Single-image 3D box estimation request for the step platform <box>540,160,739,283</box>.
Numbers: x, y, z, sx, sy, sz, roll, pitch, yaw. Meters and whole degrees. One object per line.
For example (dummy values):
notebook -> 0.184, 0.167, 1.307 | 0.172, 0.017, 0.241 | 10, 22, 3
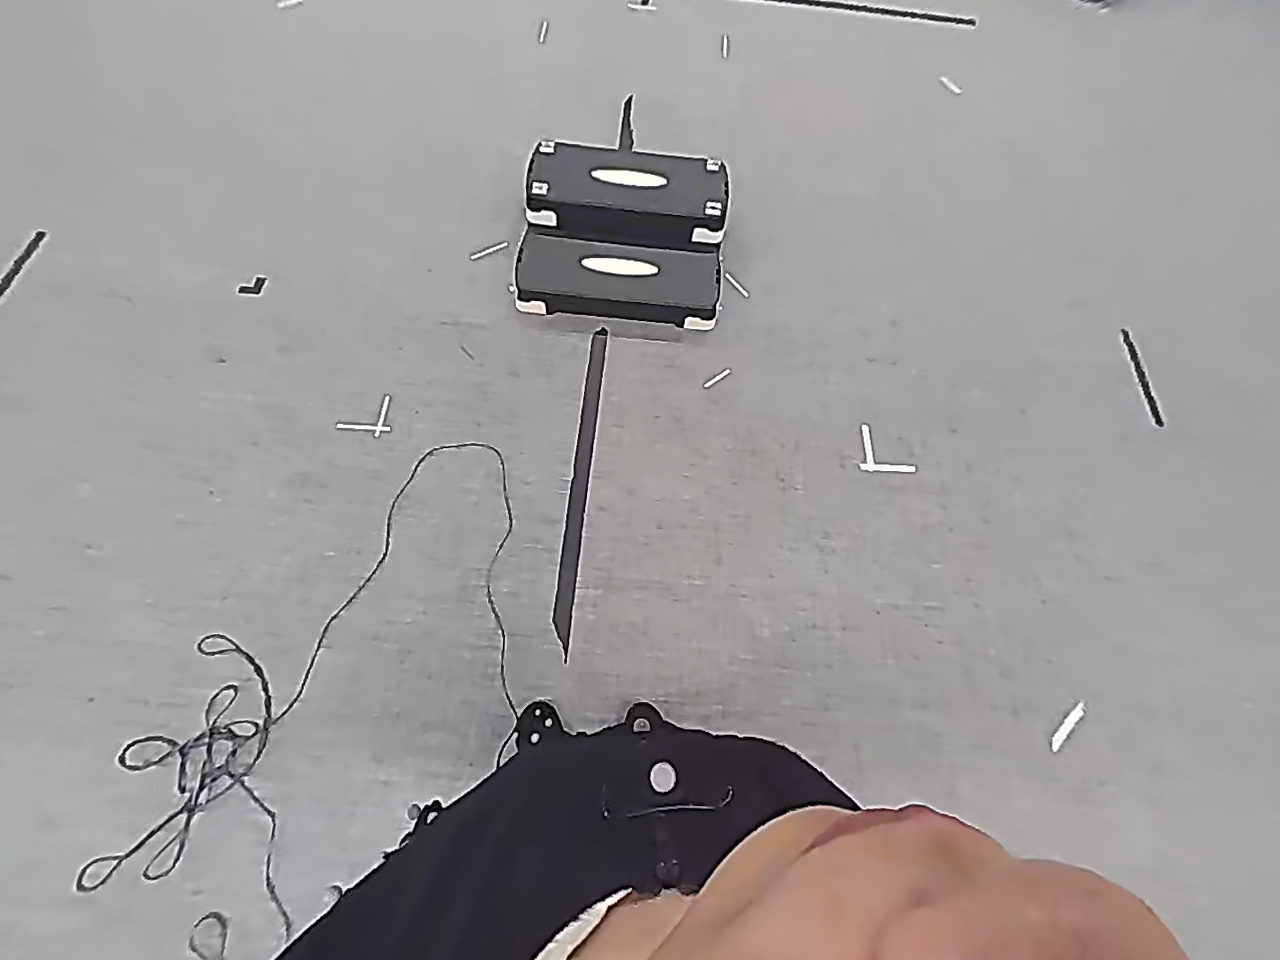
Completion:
step platform -> -0.001, -0.904, 1.890 | 0.684, 0.204, 0.286 | 9, 66, 0
